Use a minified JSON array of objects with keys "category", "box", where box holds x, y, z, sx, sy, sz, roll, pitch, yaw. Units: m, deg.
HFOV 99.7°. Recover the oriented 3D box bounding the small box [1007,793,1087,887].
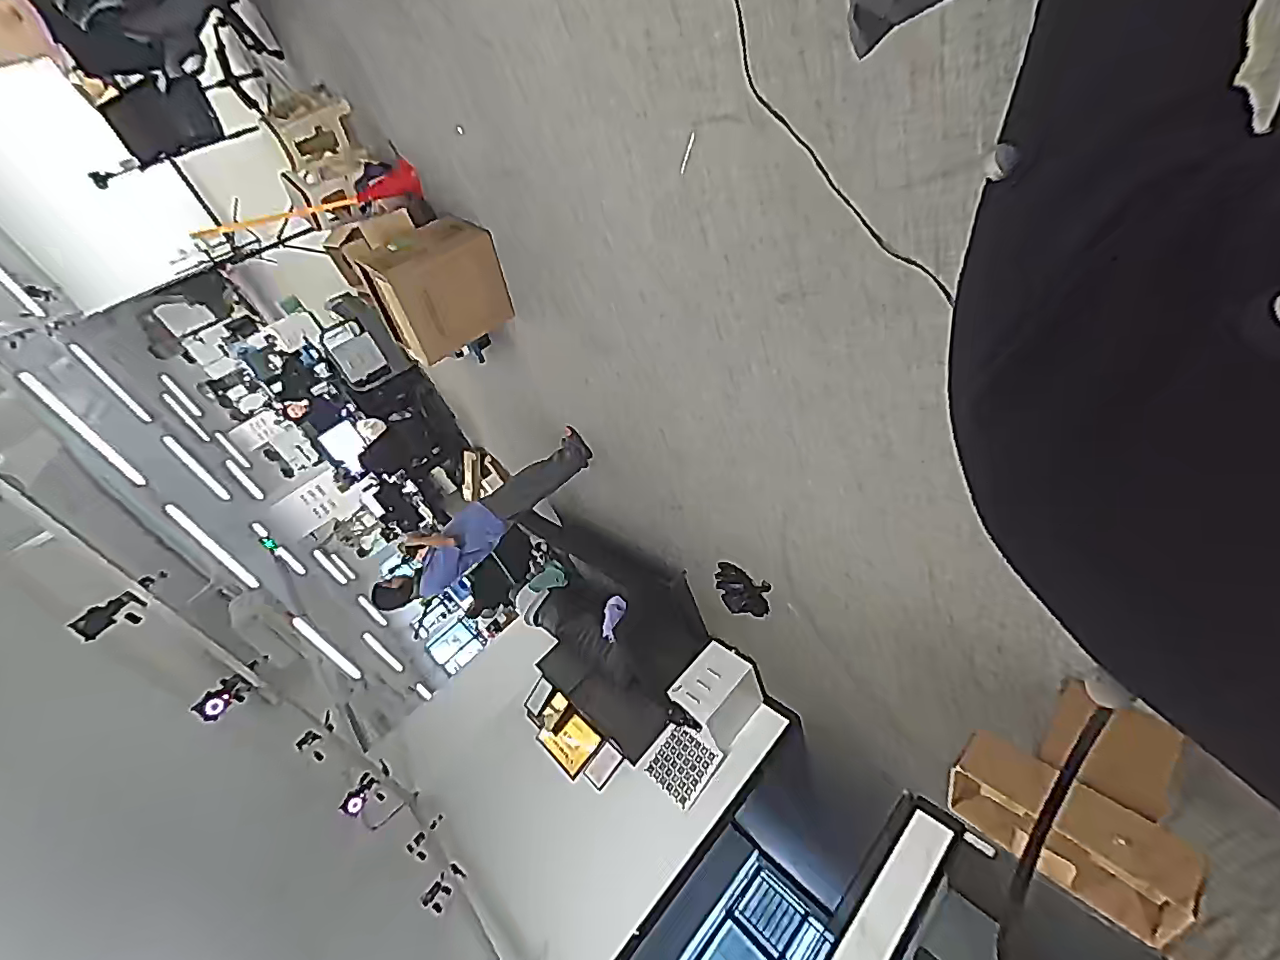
[{"category":"small box","box":[1.342,1.179,1.783,0.168,0.176,0.179,23,147,46]}]
